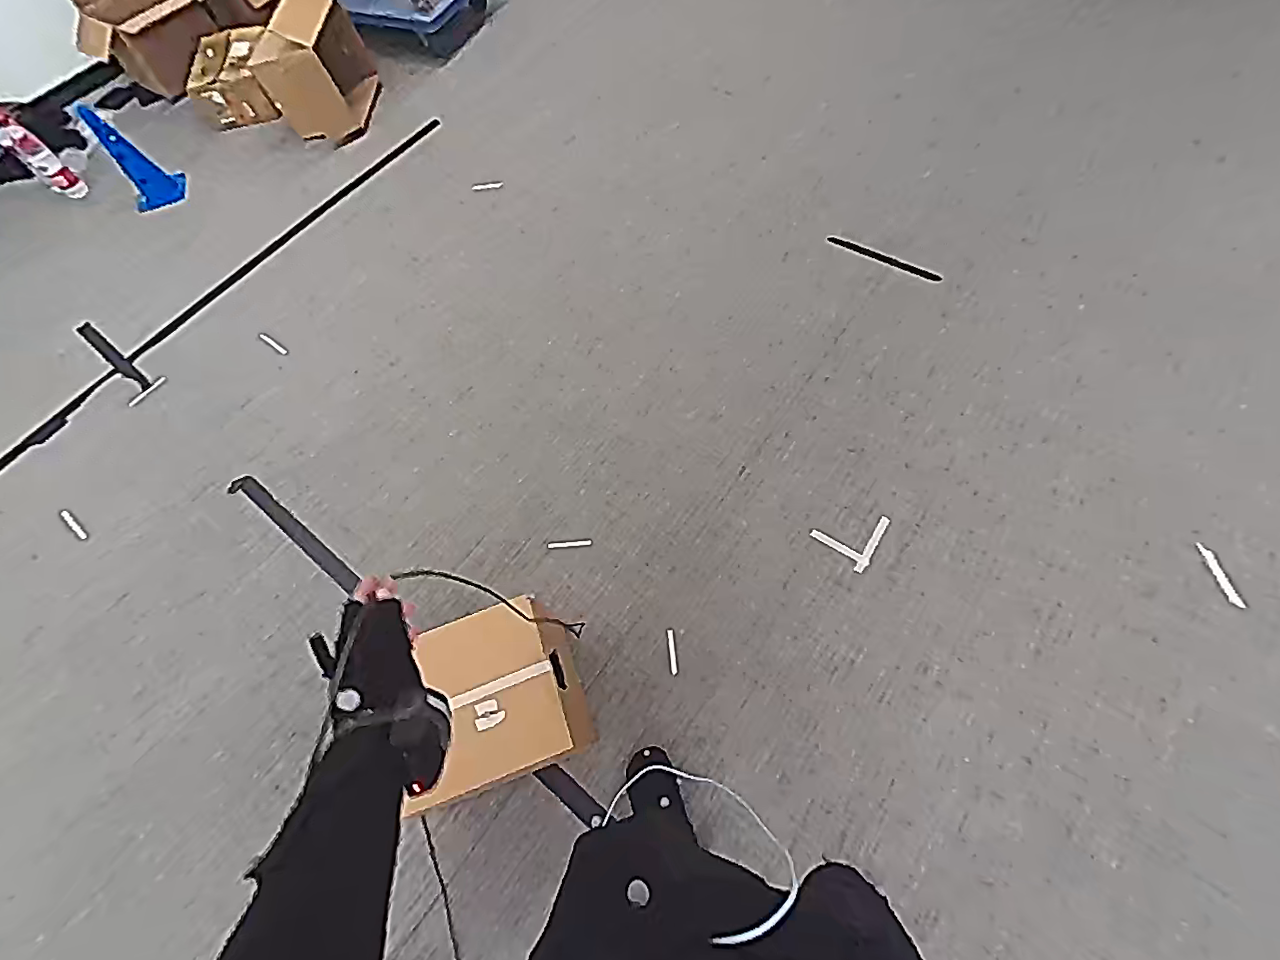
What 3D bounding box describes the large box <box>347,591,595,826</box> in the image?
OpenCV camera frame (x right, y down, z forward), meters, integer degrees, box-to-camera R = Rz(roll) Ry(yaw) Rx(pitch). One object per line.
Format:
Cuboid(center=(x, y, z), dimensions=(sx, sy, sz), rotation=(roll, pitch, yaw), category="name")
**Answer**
Cuboid(center=(-0.350, 0.492, 1.184), dimensions=(0.408, 0.320, 0.320), rotation=(-20, 65, -5), category="large box")
